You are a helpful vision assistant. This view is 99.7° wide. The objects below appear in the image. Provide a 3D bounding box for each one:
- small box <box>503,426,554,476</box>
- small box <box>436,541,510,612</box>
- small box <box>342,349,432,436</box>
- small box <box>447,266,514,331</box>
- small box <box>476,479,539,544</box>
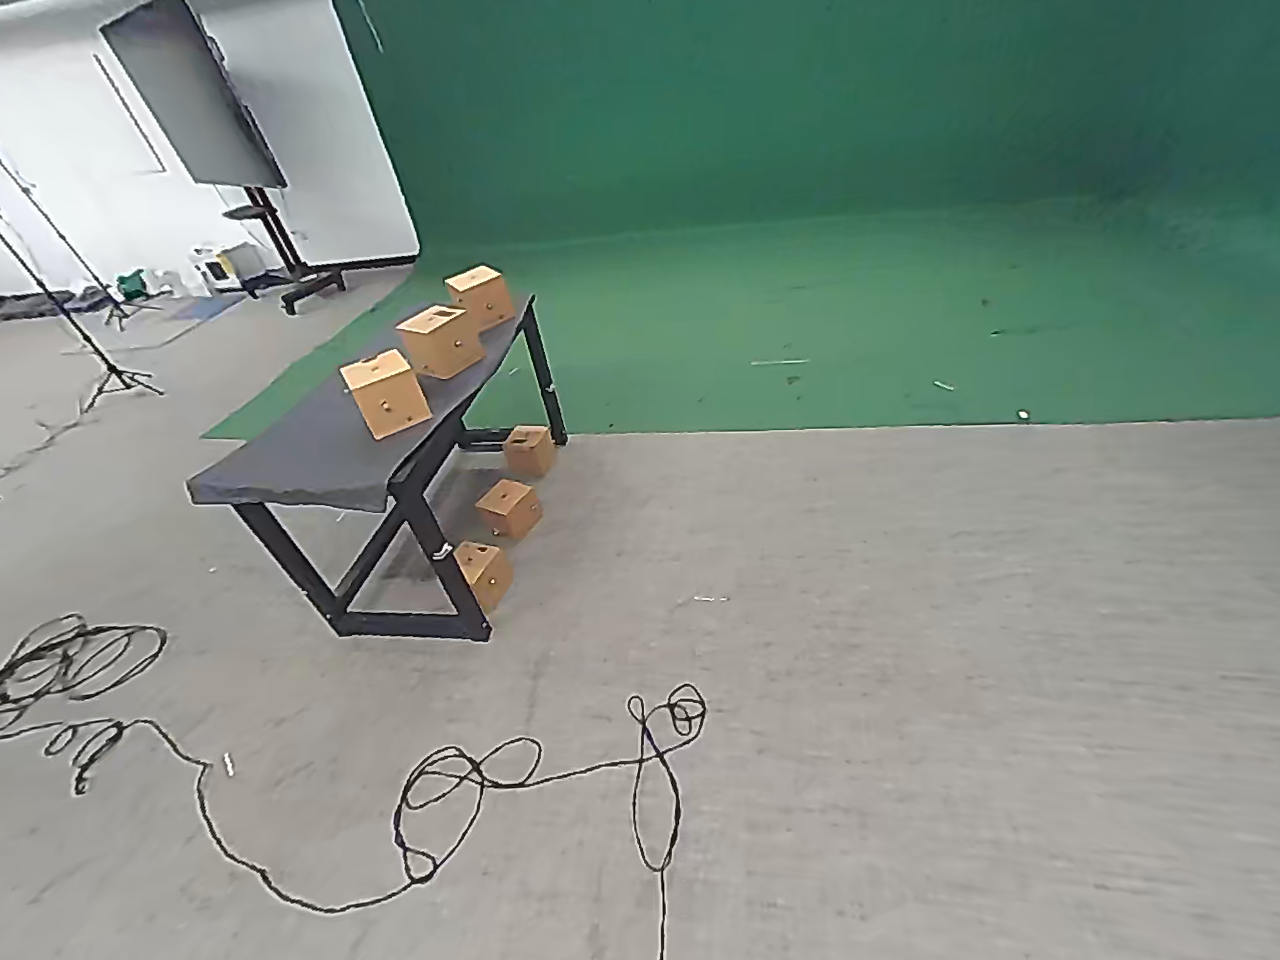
[{"bbox_3d":[-0.513,-0.132,2.525,0.168,0.176,0.179,4,40,14],"label":"small box"},{"bbox_3d":[-0.595,0.352,1.955,0.168,0.176,0.179,8,43,20],"label":"small box"},{"bbox_3d":[-0.723,-0.247,1.554,0.168,0.176,0.179,-28,43,-22],"label":"small box"},{"bbox_3d":[-0.601,-0.685,2.052,0.168,0.176,0.179,-31,44,-21],"label":"small box"},{"bbox_3d":[-0.533,0.129,2.214,0.168,0.176,0.179,13,46,26],"label":"small box"}]
